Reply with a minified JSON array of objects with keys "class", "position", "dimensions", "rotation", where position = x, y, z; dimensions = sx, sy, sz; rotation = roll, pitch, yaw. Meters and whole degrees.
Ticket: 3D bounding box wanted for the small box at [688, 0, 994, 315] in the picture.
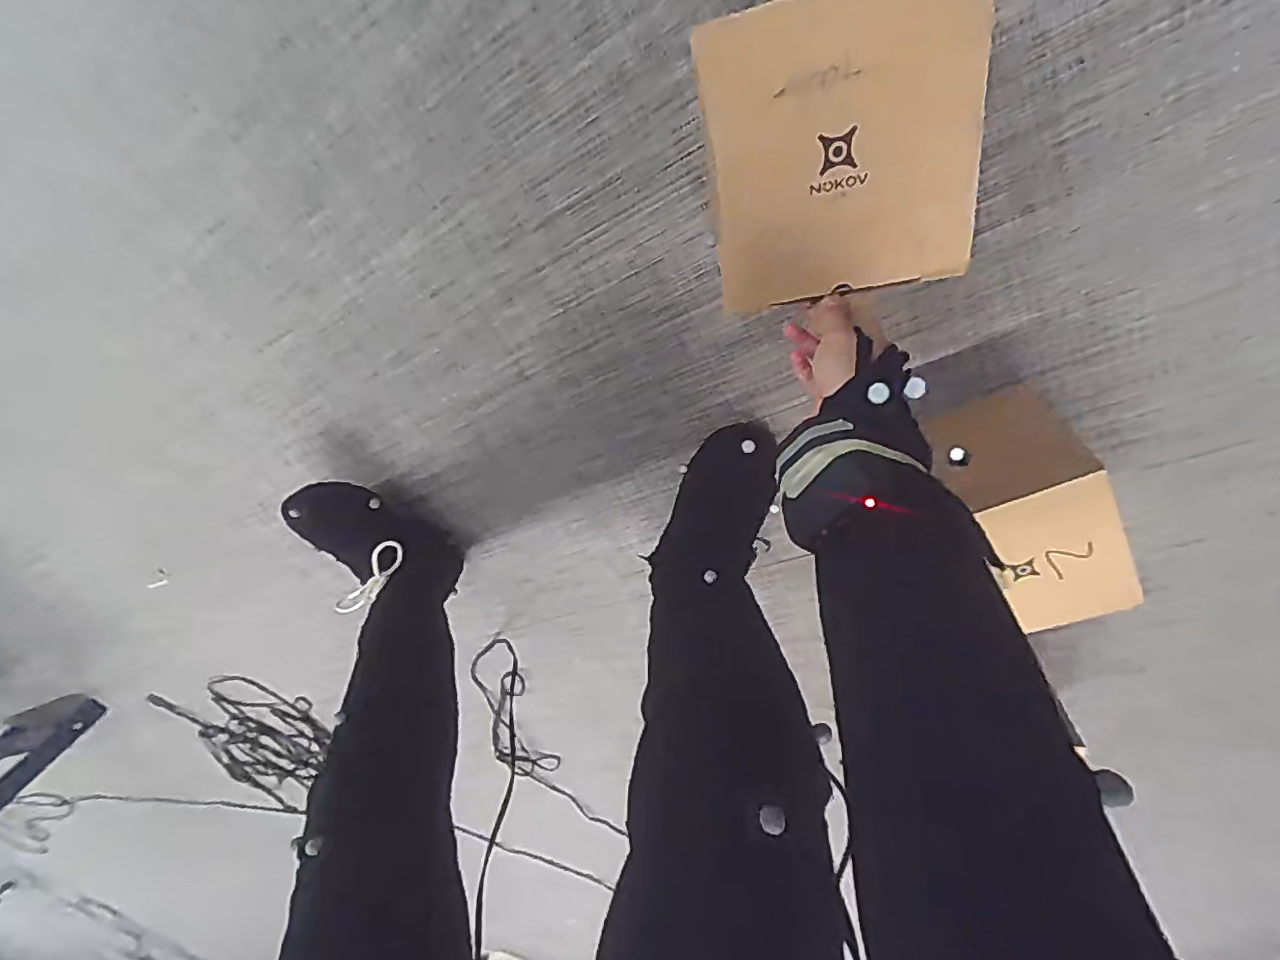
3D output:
[{"class":"small box","position":[0.137,-0.245,0.406],"dimensions":[0.168,0.176,0.179],"rotation":[-6,120,14]}]
